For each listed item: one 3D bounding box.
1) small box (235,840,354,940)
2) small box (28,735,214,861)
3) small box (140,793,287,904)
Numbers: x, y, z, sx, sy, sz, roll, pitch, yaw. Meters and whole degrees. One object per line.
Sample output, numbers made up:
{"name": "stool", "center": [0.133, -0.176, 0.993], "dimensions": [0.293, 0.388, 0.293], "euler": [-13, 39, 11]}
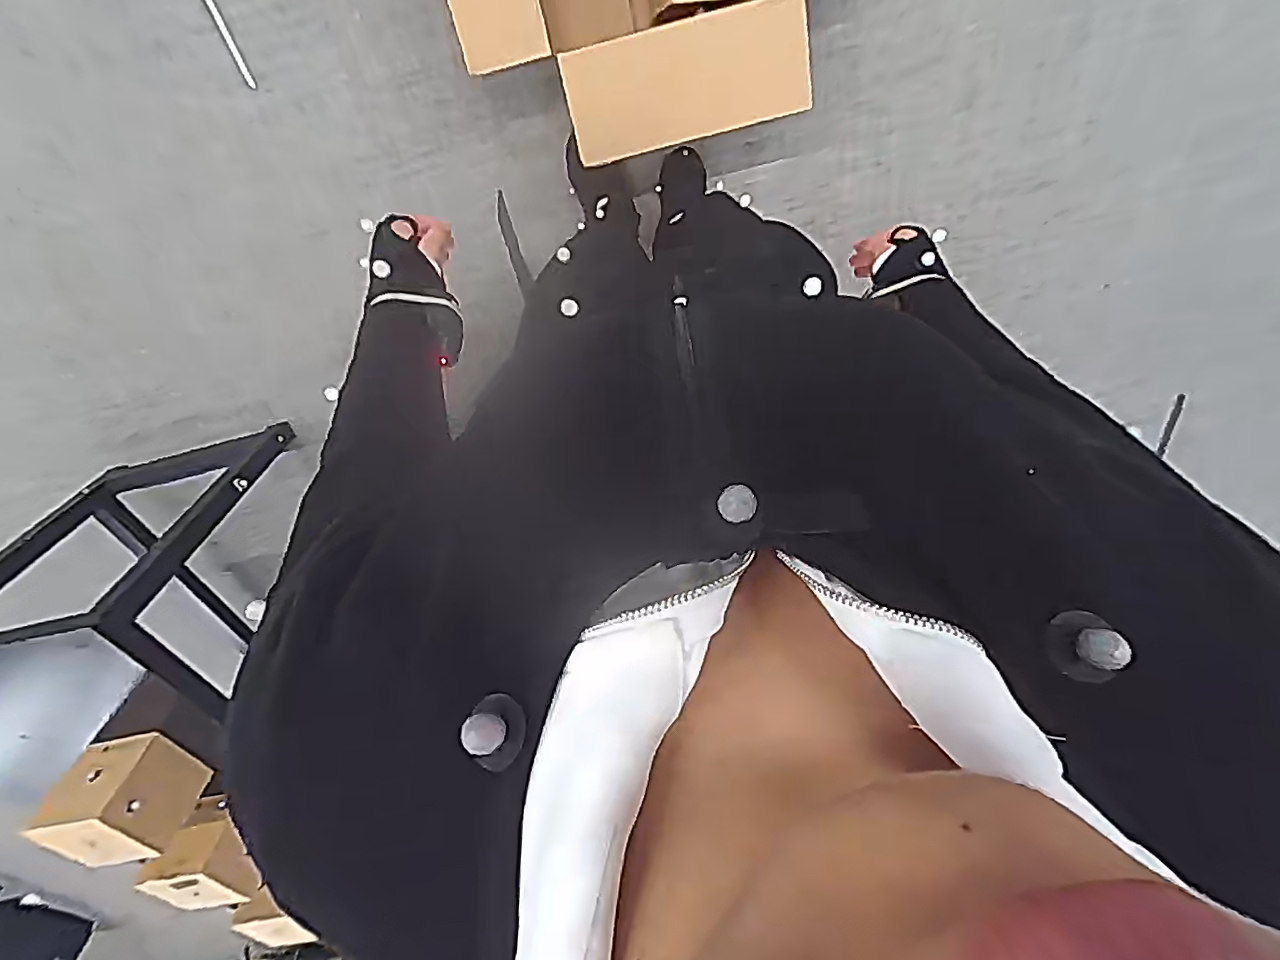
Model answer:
{"name": "small box", "center": [-0.905, 1.082, 1.436], "dimensions": [0.168, 0.176, 0.179], "euler": [-14, 126, 7]}
{"name": "small box", "center": [-1.043, 0.643, 1.107], "dimensions": [0.168, 0.176, 0.179], "euler": [-12, 126, 6]}
{"name": "small box", "center": [-0.982, 0.854, 1.264], "dimensions": [0.168, 0.176, 0.179], "euler": [-12, 127, 5]}
